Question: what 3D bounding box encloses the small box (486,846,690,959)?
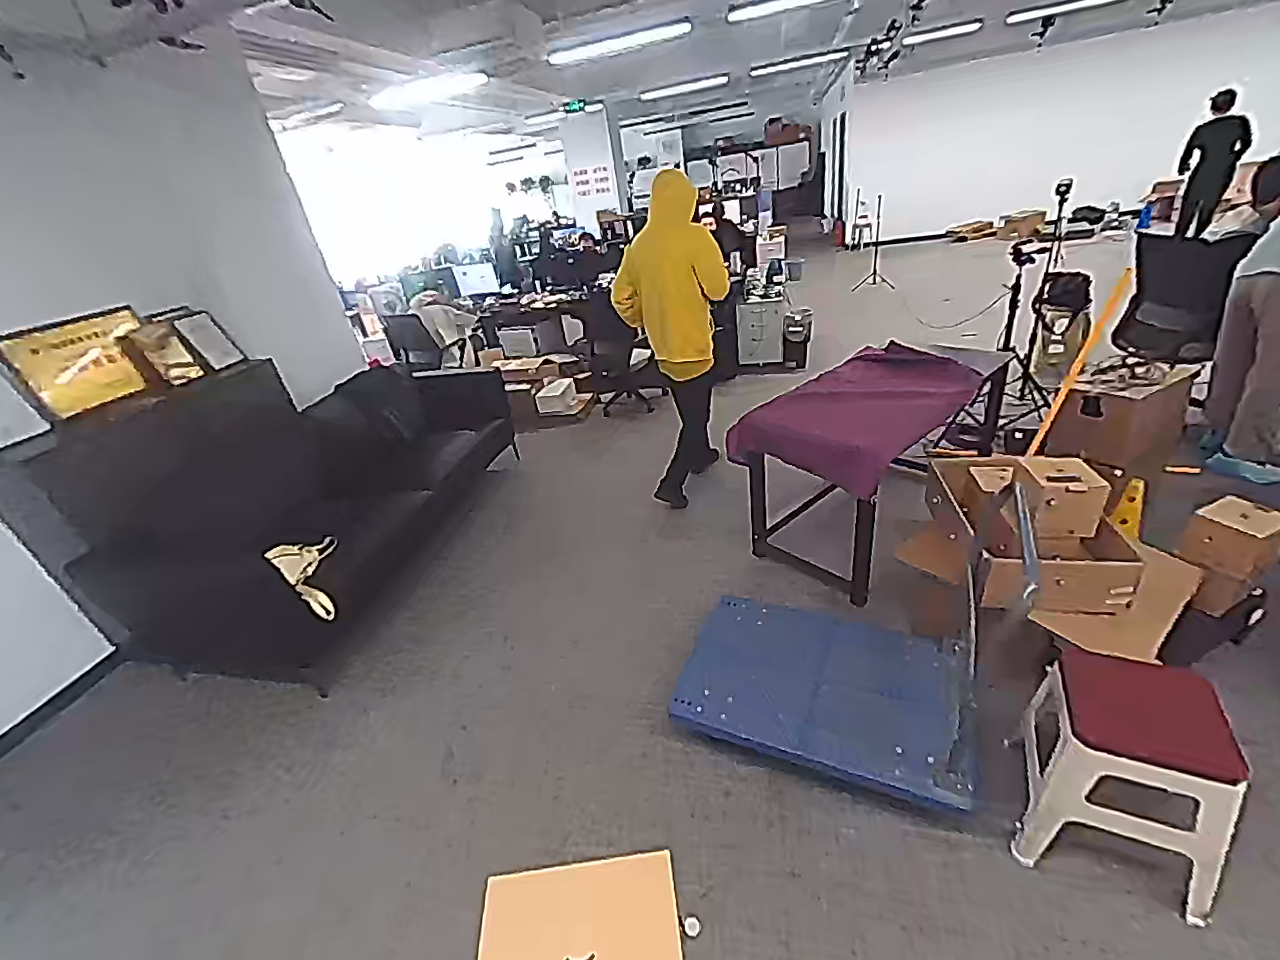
[{"bbox_3d":[-0.036,0.458,0.466,0.168,0.176,0.179,-7,32,0],"label":"small box"}]
